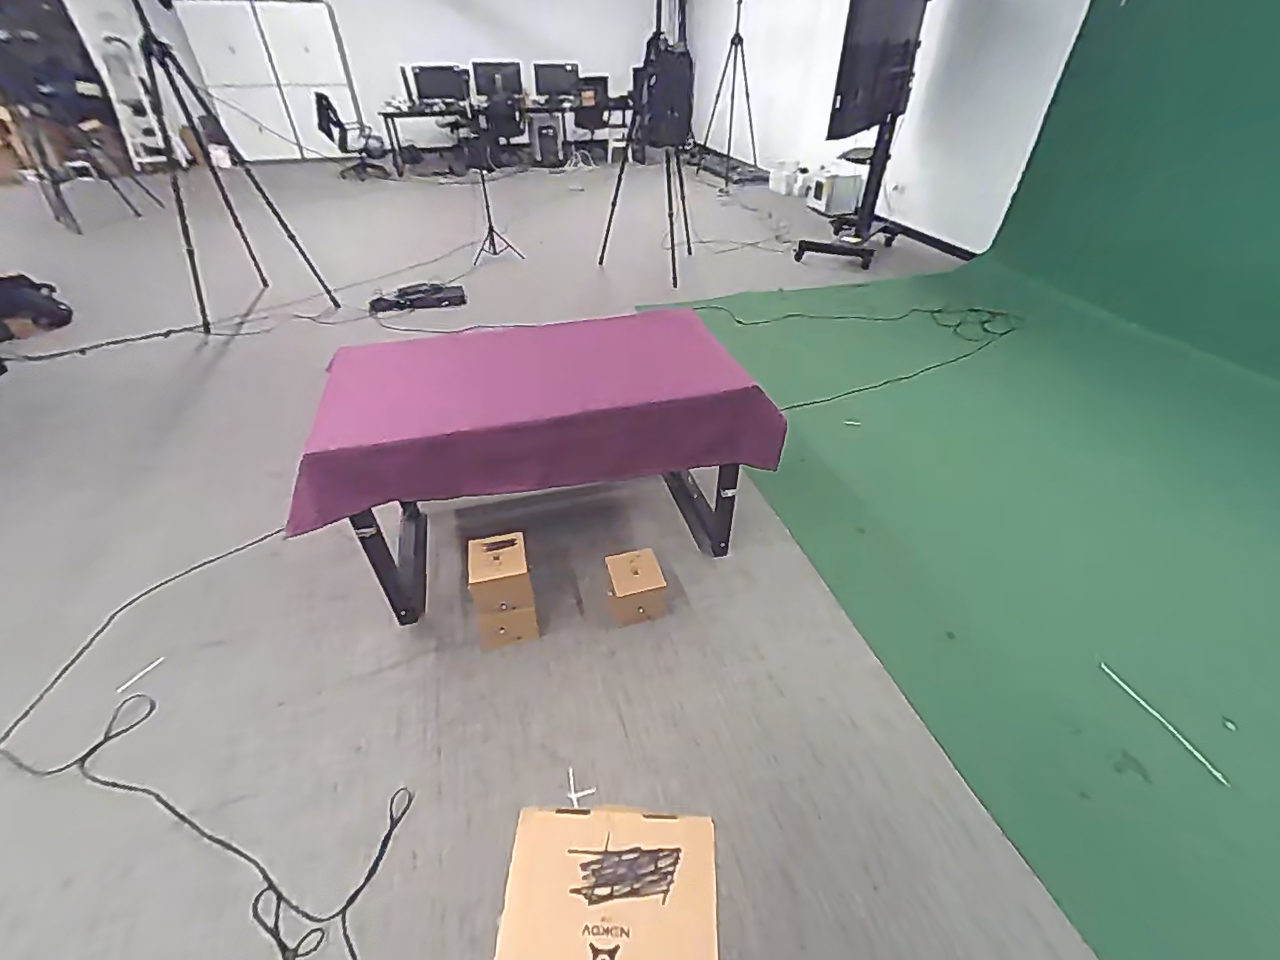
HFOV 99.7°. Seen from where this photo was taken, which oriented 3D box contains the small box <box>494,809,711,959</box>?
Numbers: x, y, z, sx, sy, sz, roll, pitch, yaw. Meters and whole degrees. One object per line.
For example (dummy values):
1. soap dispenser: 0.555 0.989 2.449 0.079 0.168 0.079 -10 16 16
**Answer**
1. small box: -0.025 0.407 0.469 0.168 0.176 0.179 1 50 5
